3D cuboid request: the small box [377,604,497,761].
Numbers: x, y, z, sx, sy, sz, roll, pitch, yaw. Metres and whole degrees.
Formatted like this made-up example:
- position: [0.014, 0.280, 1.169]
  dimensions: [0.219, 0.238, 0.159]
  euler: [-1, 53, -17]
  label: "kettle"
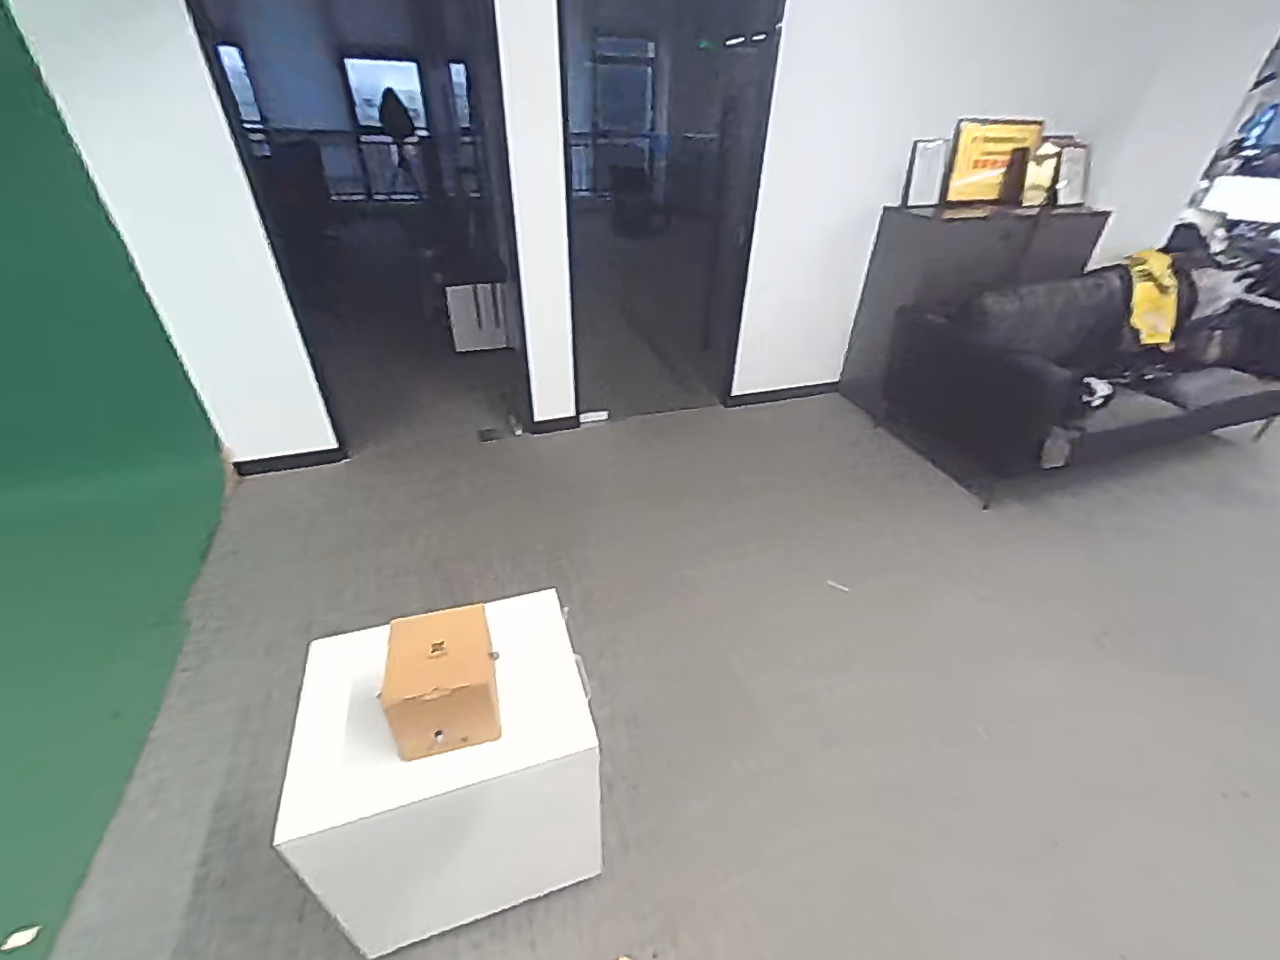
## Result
- position: [-0.348, 0.351, 0.949]
  dimensions: [0.168, 0.176, 0.179]
  euler: [-8, 35, -15]
  label: "small box"
